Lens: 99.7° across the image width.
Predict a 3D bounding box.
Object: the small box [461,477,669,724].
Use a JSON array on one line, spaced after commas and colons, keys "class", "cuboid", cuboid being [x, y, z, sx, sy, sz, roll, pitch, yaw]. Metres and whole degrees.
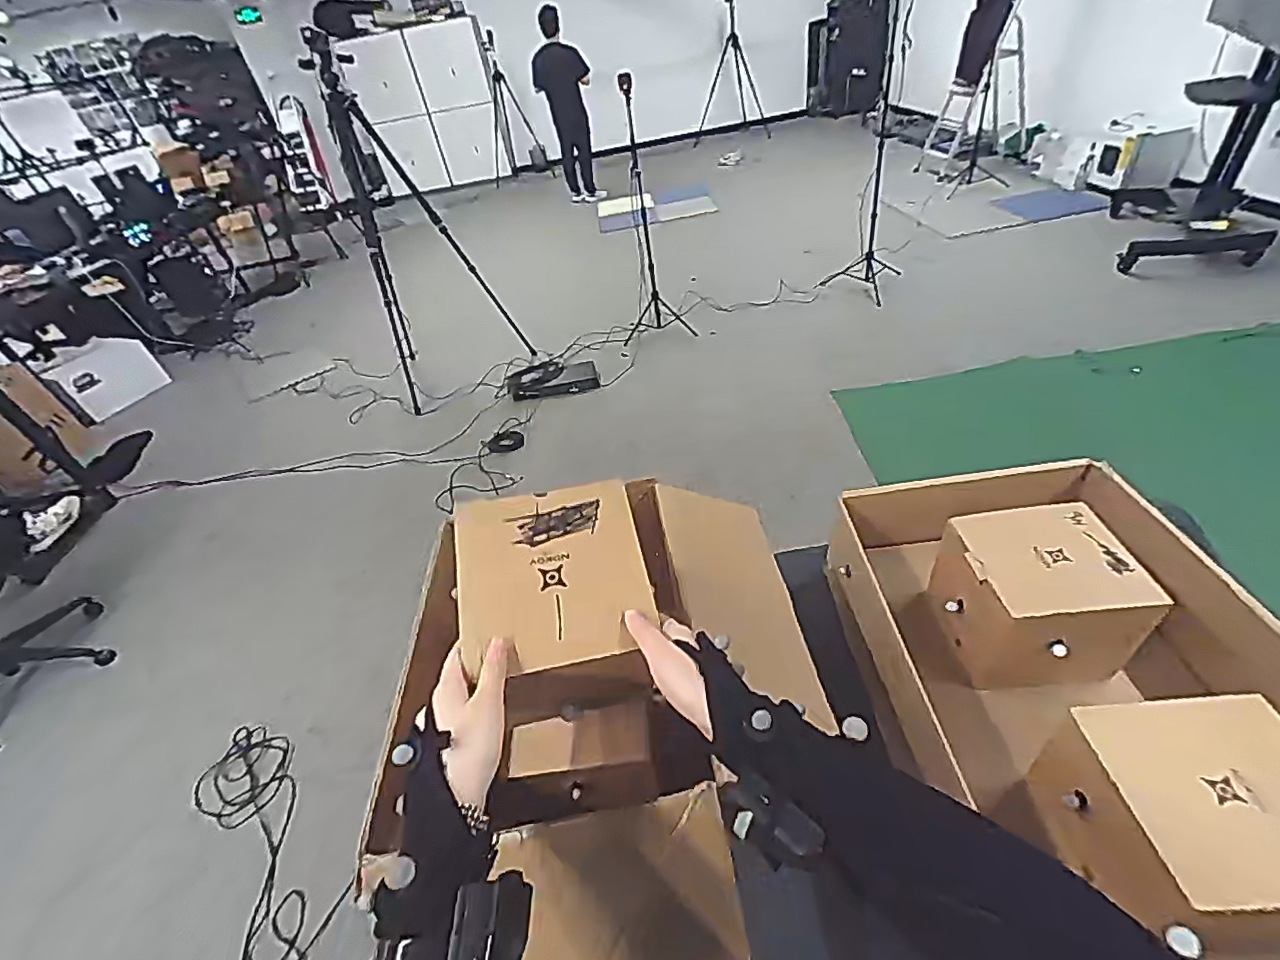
[{"class": "small box", "cuboid": [-0.078, 0.123, 0.543, 0.168, 0.176, 0.179, -9, 57, -10]}]
